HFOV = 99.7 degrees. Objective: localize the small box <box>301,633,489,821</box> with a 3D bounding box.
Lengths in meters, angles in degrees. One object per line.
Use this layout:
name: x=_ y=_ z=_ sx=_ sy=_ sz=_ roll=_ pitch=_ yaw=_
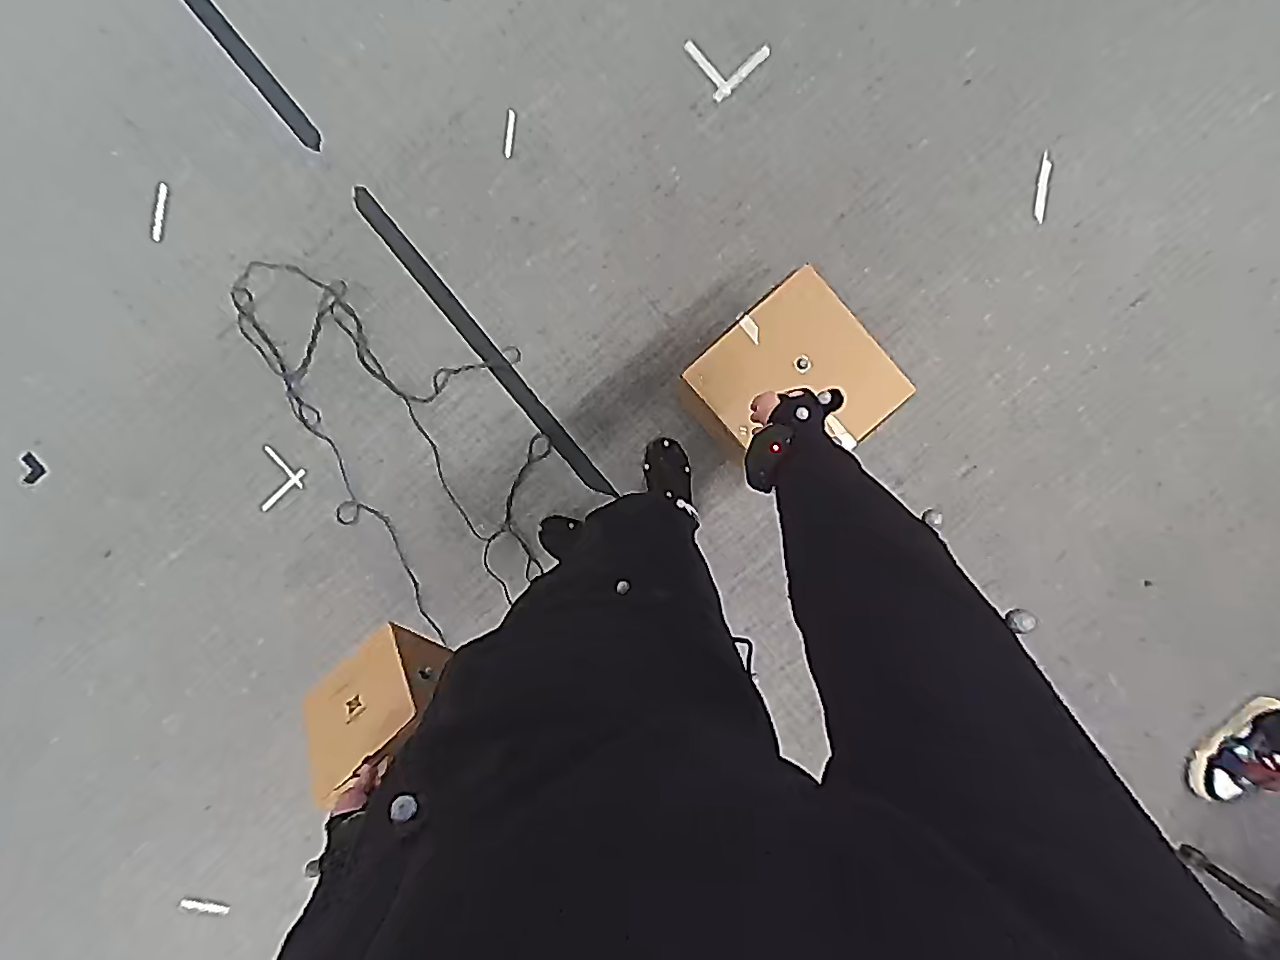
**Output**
small box: x=-0.347 y=0.359 z=0.780 sx=0.168 sy=0.179 sz=0.176 roll=-41 pitch=137 yaw=-5
